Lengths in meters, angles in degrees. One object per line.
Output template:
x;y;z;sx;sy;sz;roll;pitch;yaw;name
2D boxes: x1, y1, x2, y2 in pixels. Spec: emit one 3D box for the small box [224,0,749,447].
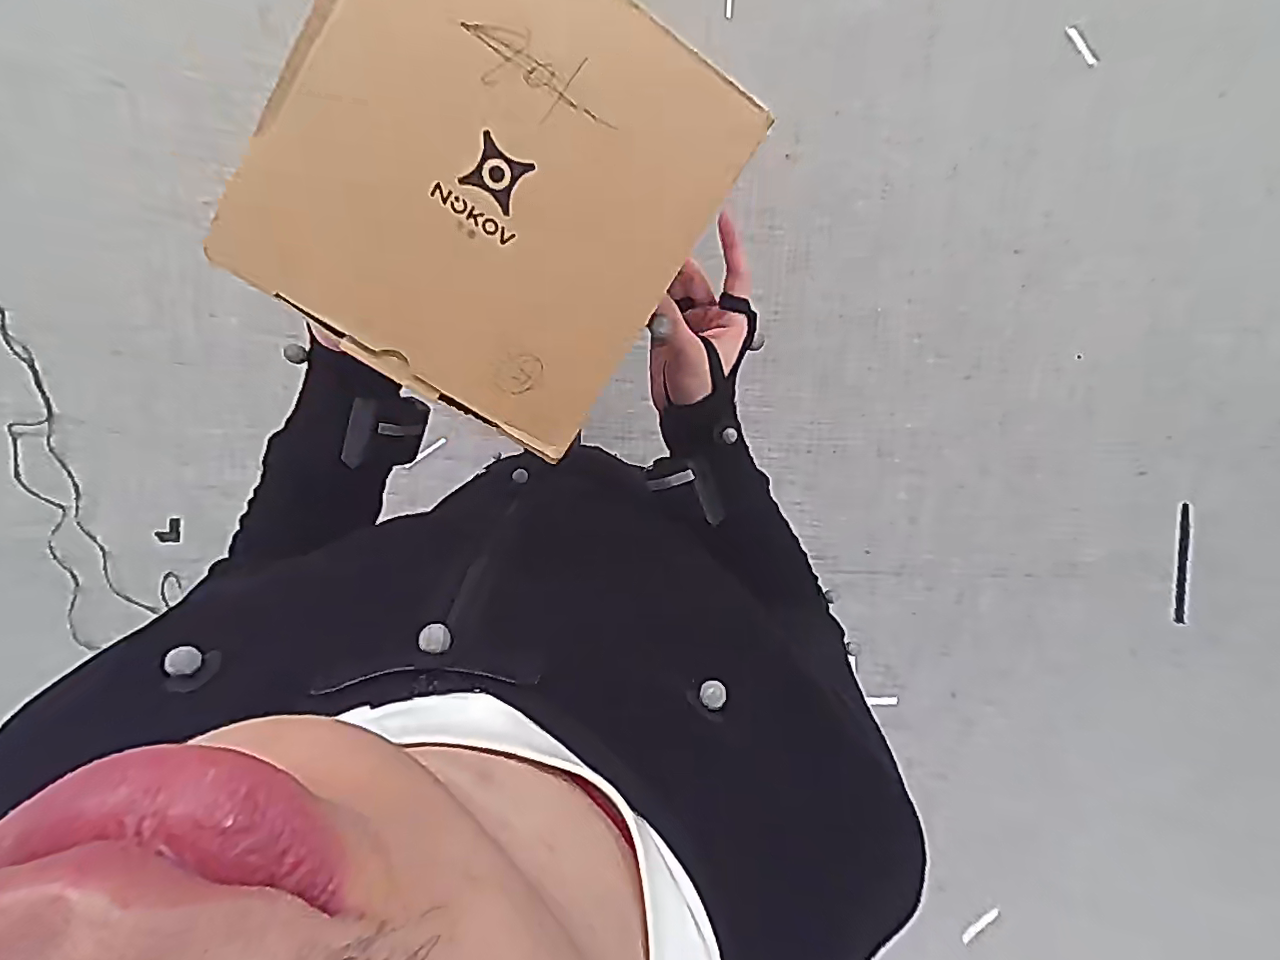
-0.071;-0.144;0.308;0.168;0.176;0.179;31;98;-13;small box
